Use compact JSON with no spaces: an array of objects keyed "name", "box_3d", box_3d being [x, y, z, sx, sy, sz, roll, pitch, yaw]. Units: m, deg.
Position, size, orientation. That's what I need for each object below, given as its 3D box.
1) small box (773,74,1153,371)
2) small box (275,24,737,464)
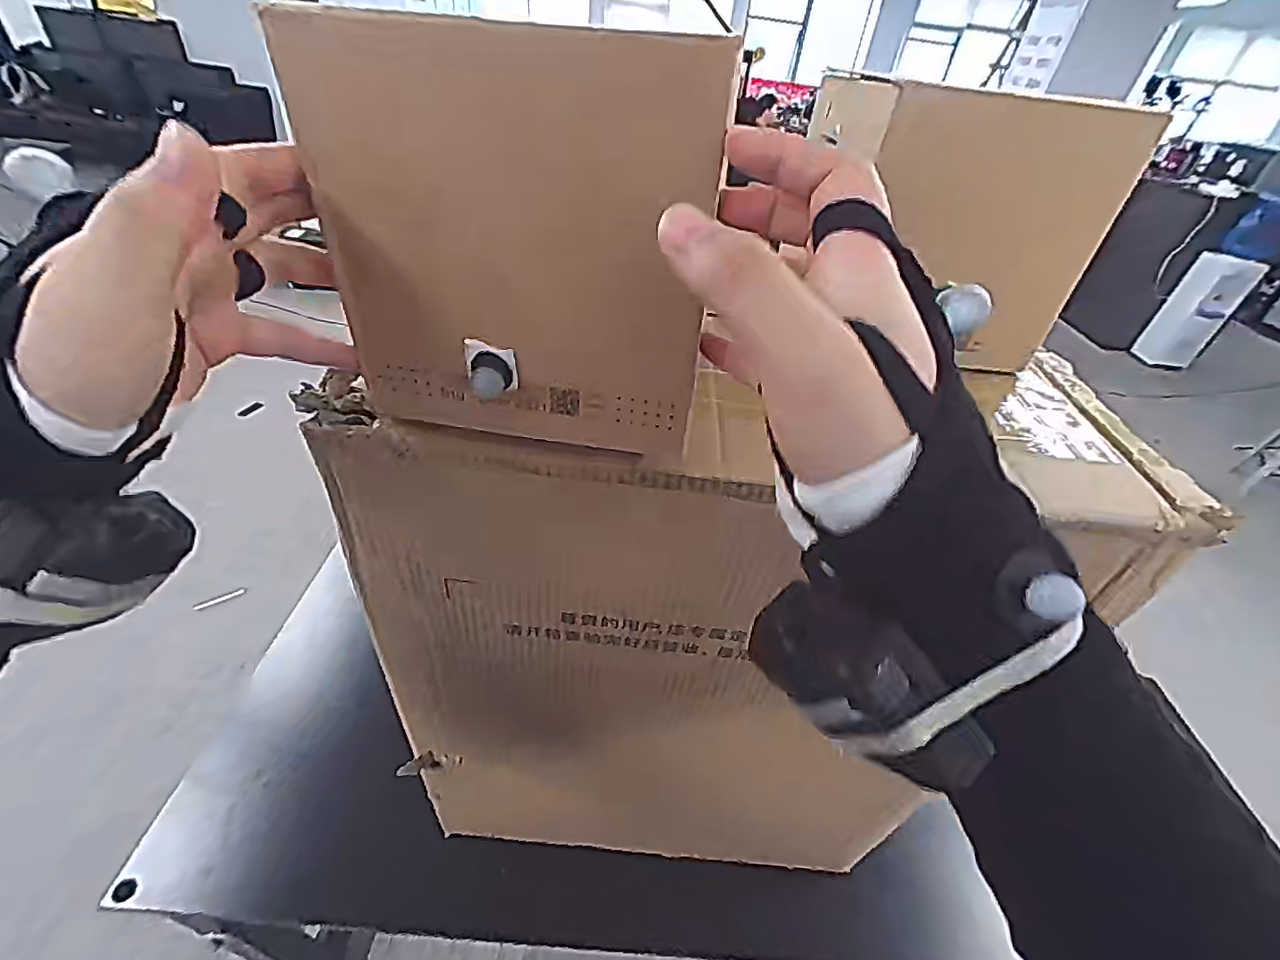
[{"name":"small box","box_3d":[0.214,-0.205,0.427,0.168,0.176,0.179,4,38,-2]},{"name":"small box","box_3d":[-0.042,-0.132,0.297,0.168,0.176,0.179,6,40,4]}]
